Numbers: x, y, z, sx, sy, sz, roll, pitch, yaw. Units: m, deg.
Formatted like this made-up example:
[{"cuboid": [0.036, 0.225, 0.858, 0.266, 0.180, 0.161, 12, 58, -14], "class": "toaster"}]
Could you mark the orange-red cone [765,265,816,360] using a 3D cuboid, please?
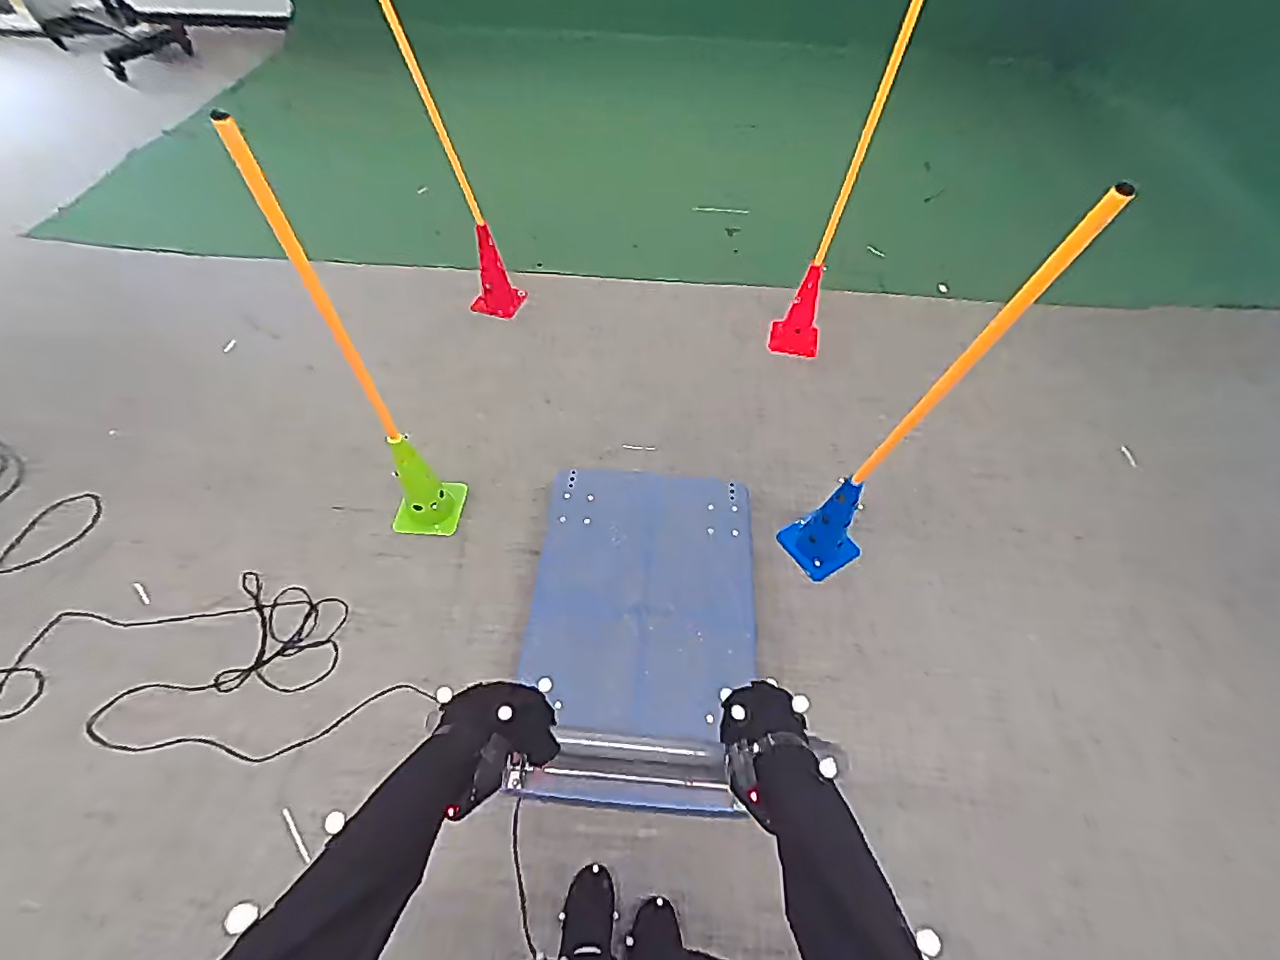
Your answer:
[{"cuboid": [0.636, -0.681, 2.143, 0.198, 0.360, 0.199, 12, 55, 8], "class": "orange-red cone"}]
